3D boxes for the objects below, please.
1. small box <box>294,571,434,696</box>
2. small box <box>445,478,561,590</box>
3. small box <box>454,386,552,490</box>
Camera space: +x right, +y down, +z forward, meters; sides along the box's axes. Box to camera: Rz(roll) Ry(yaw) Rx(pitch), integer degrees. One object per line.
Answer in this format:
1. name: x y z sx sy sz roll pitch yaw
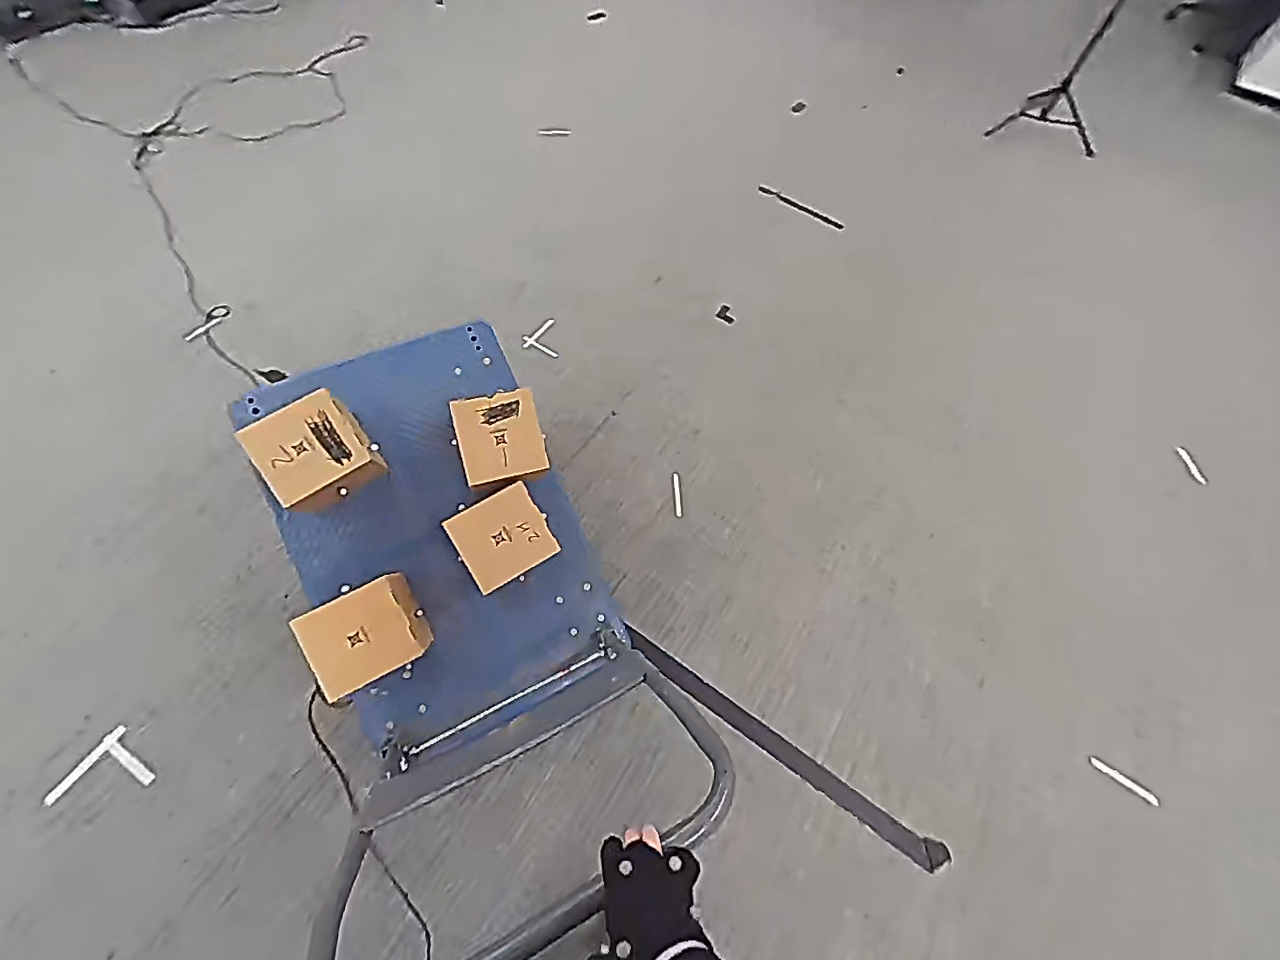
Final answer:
1. small box: -0.531 0.292 1.067 0.179 0.176 0.168 -26 89 -16
2. small box: -0.286 0.116 1.147 0.179 0.176 0.168 -30 91 -15
3. small box: -0.296 -0.085 1.170 0.168 0.176 0.179 -14 87 -14
